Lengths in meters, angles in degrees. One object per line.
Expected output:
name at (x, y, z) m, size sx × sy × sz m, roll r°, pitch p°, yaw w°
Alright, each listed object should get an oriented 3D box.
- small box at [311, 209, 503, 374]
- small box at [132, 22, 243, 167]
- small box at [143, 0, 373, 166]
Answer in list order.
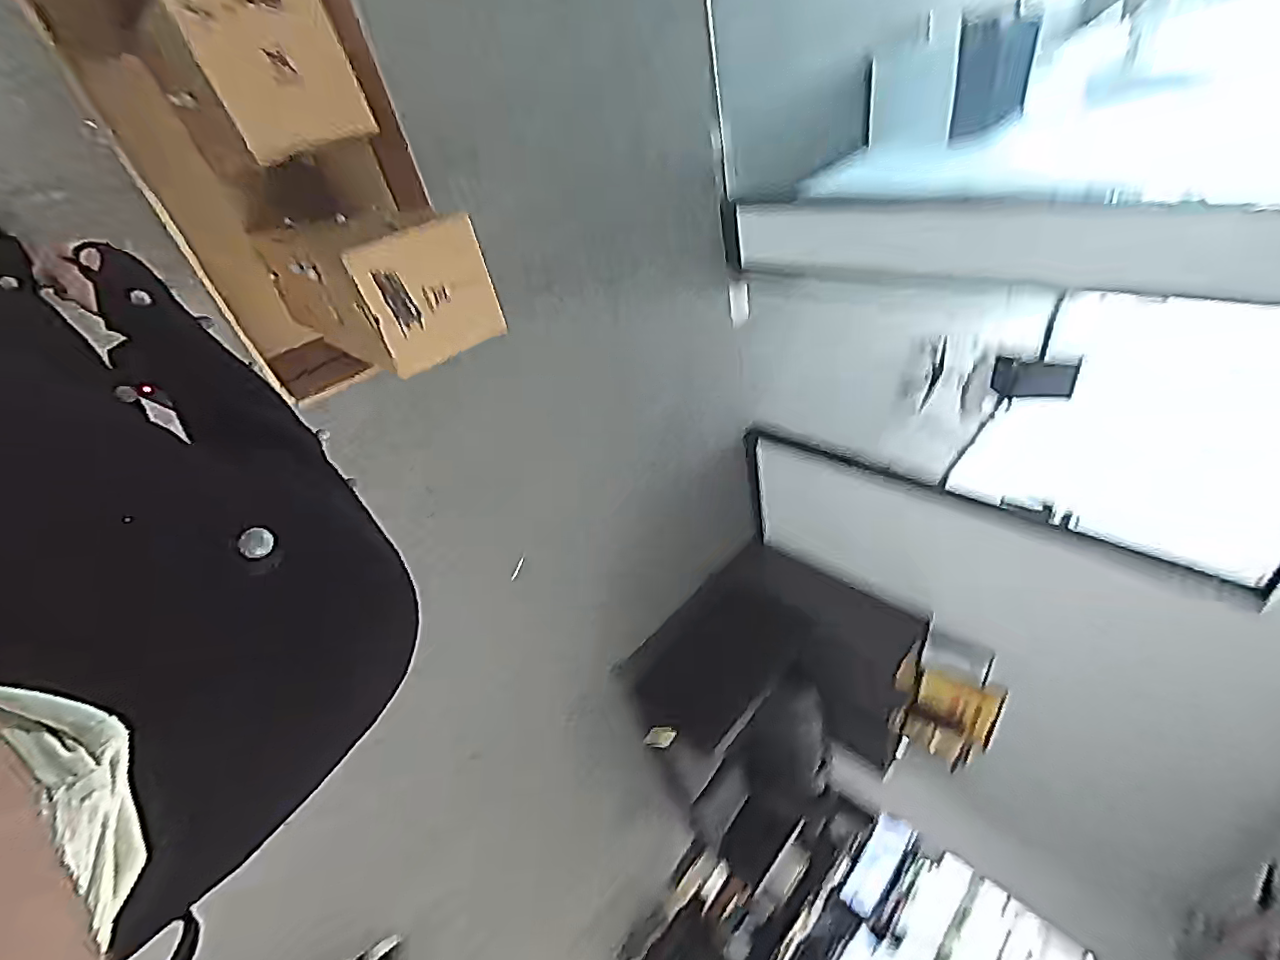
small box at (-0.332, -0.272, 0.764) m, size 0.179 × 0.176 × 0.168 m, roll -38°, pitch 134°, yaw -30°
small box at (-0.608, -0.588, 0.812) m, size 0.168 × 0.176 × 0.179 m, roll -38°, pitch 135°, yaw -28°
small box at (-0.494, -0.531, 0.708) m, size 0.168 × 0.176 × 0.179 m, roll -39°, pitch 135°, yaw -27°
